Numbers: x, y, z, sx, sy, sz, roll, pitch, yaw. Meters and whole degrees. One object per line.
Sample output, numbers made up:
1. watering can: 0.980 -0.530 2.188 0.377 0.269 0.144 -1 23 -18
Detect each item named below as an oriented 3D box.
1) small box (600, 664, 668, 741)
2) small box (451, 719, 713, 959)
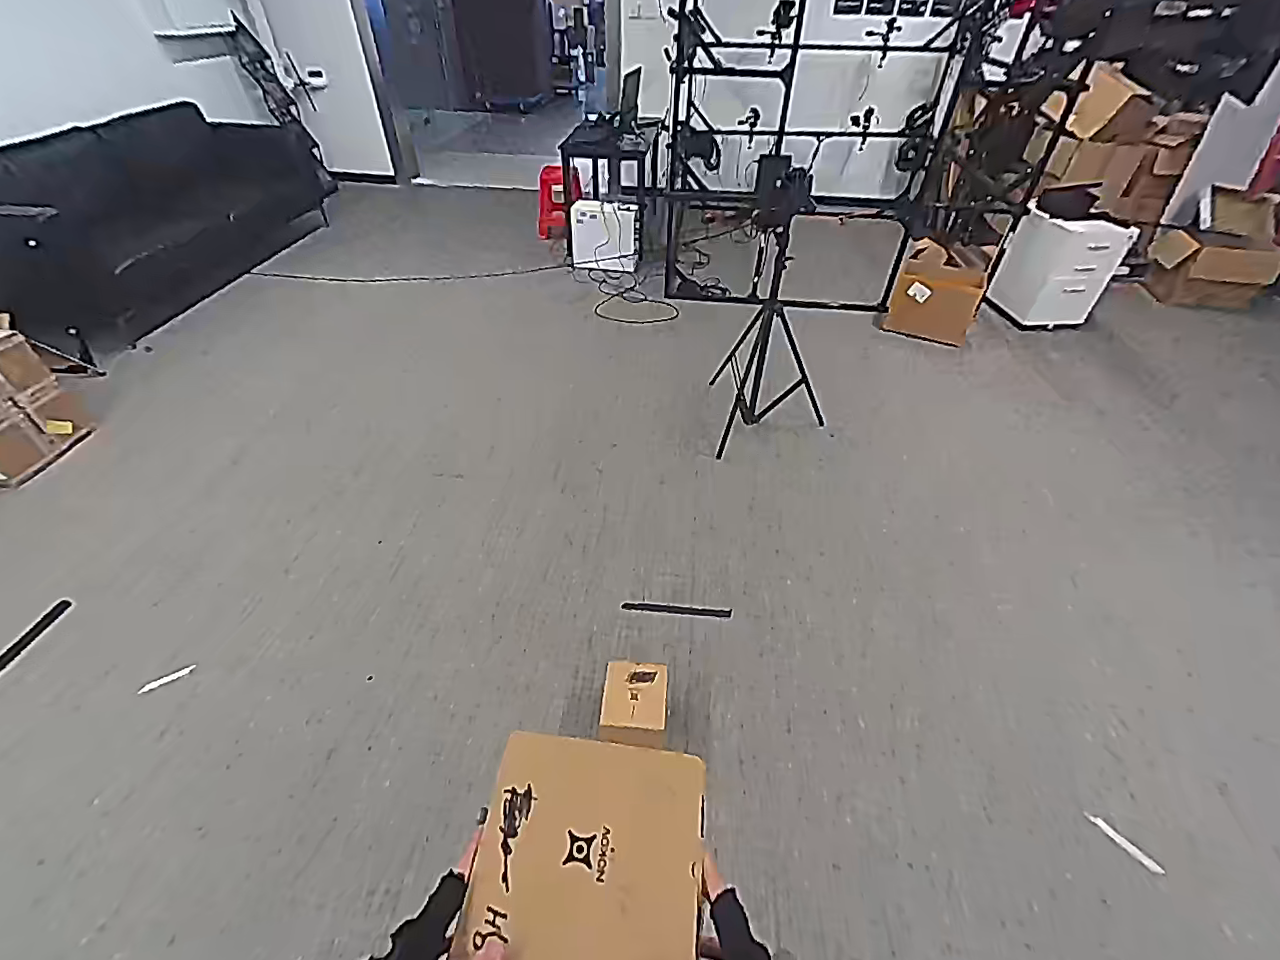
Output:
1. small box: -0.014 0.624 1.460 0.168 0.176 0.179 4 43 3
2. small box: -0.038 0.335 0.473 0.179 0.176 0.168 8 44 2
